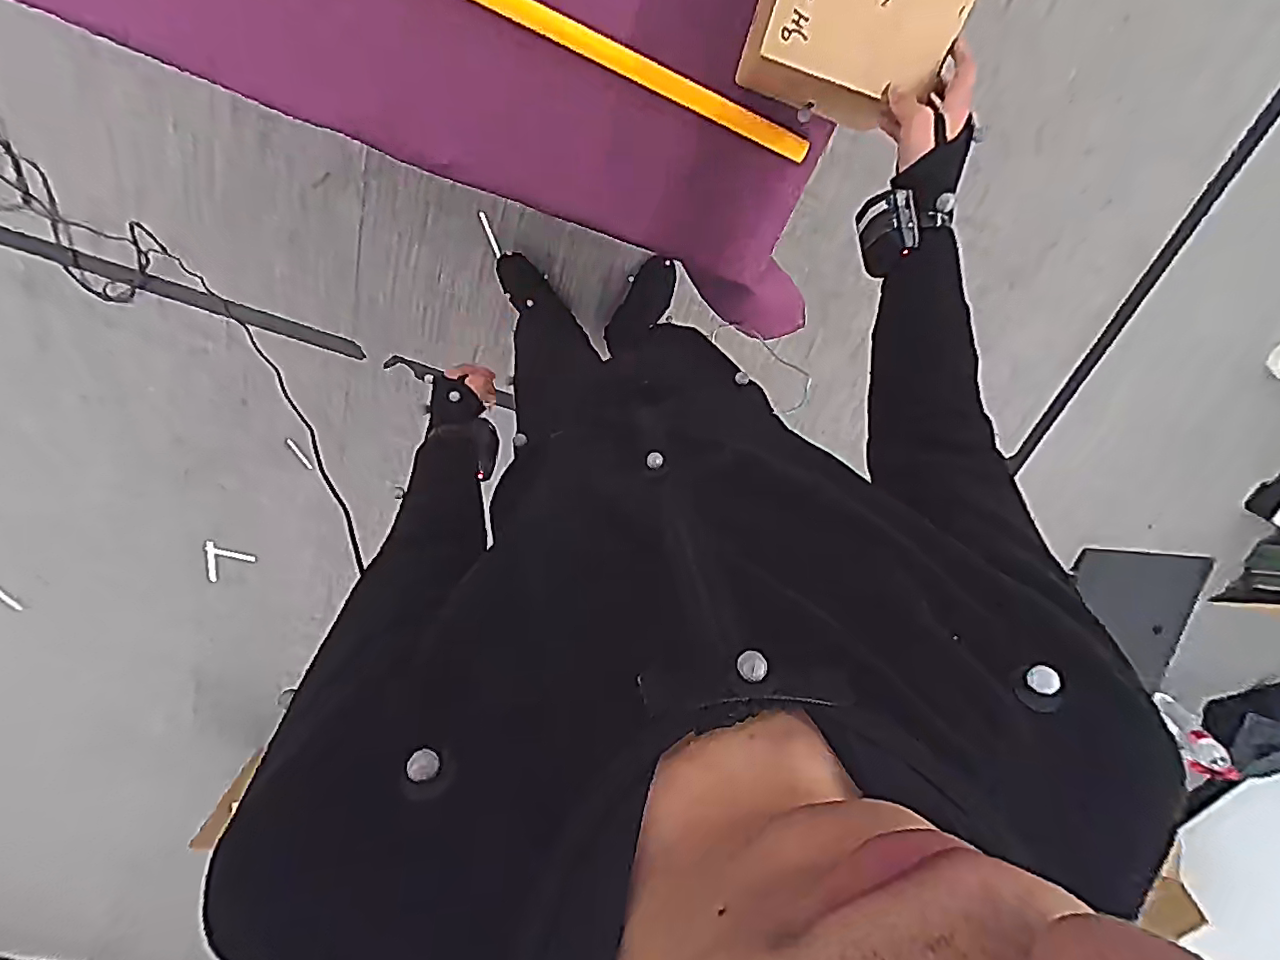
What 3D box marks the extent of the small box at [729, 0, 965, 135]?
[{"bbox_3d":[0.212,-0.486,0.573,0.179,0.176,0.168,15,118,-8],"label":"small box"}]
